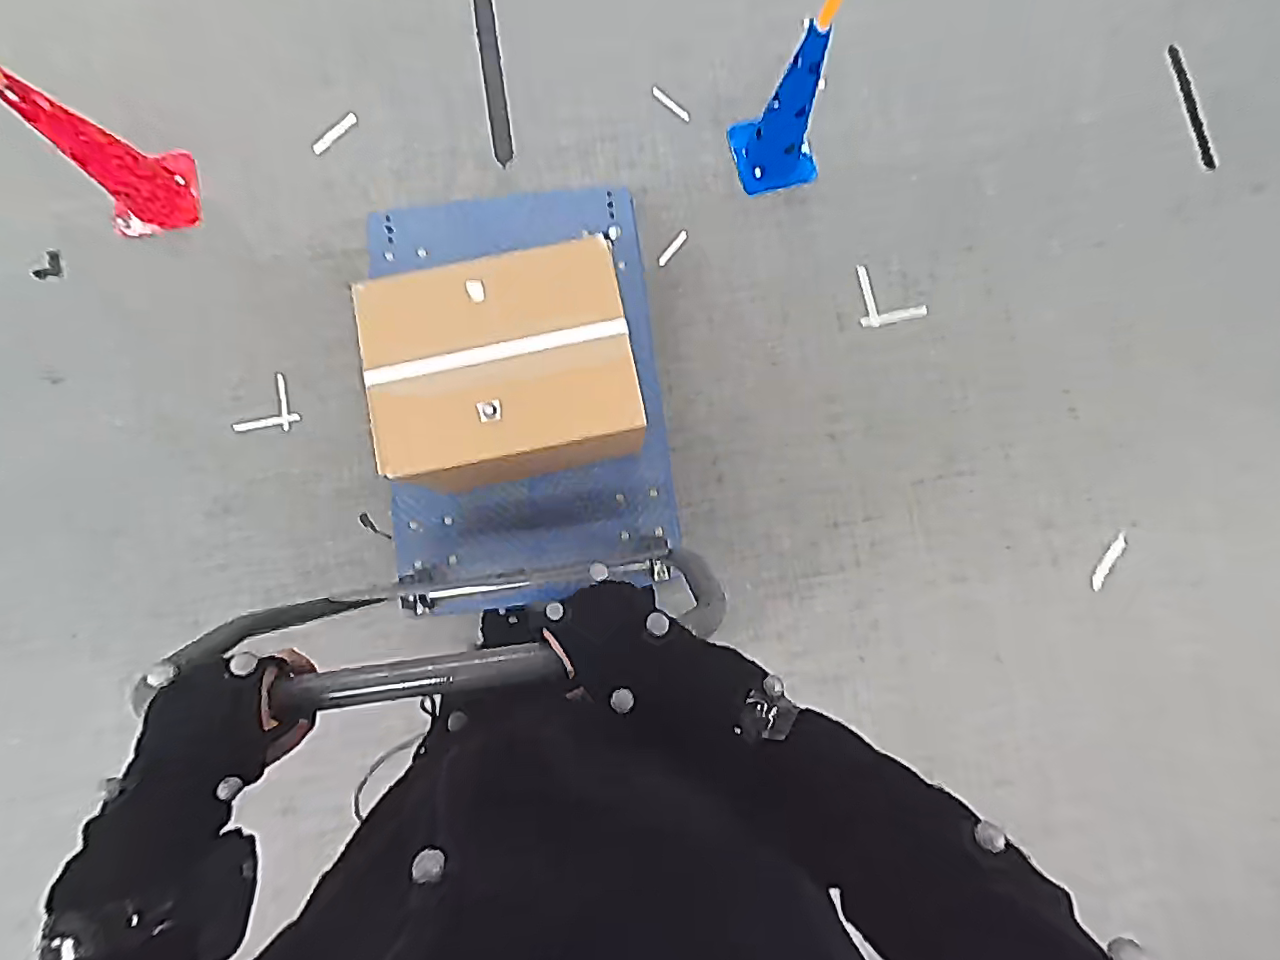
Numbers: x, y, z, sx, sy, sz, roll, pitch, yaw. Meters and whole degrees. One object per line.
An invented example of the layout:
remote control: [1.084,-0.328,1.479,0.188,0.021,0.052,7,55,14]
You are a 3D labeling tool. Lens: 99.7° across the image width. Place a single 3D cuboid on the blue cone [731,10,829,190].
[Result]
blue cone: [0.349,-0.863,1.231,0.193,0.380,0.192,-13,83,-4]
